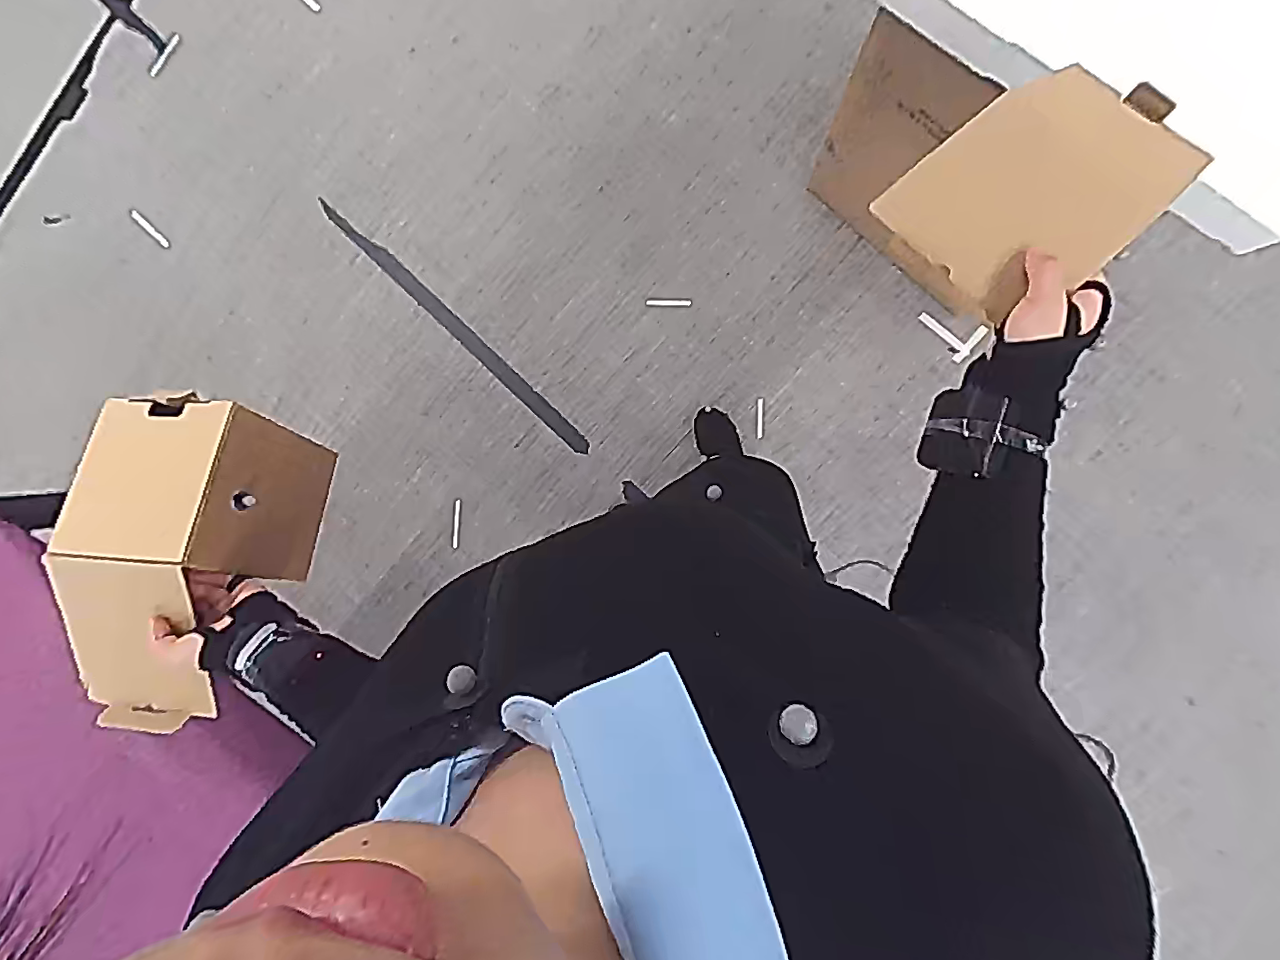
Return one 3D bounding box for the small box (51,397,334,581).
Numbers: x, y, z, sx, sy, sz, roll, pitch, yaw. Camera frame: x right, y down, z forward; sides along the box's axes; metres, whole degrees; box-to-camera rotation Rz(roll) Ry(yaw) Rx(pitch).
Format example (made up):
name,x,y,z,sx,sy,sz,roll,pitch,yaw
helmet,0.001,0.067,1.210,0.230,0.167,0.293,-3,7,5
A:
name,x,y,z,sx,sy,sz,roll,pitch,yaw
small box,-0.498,0.019,0.633,0.168,0.176,0.179,3,73,9
